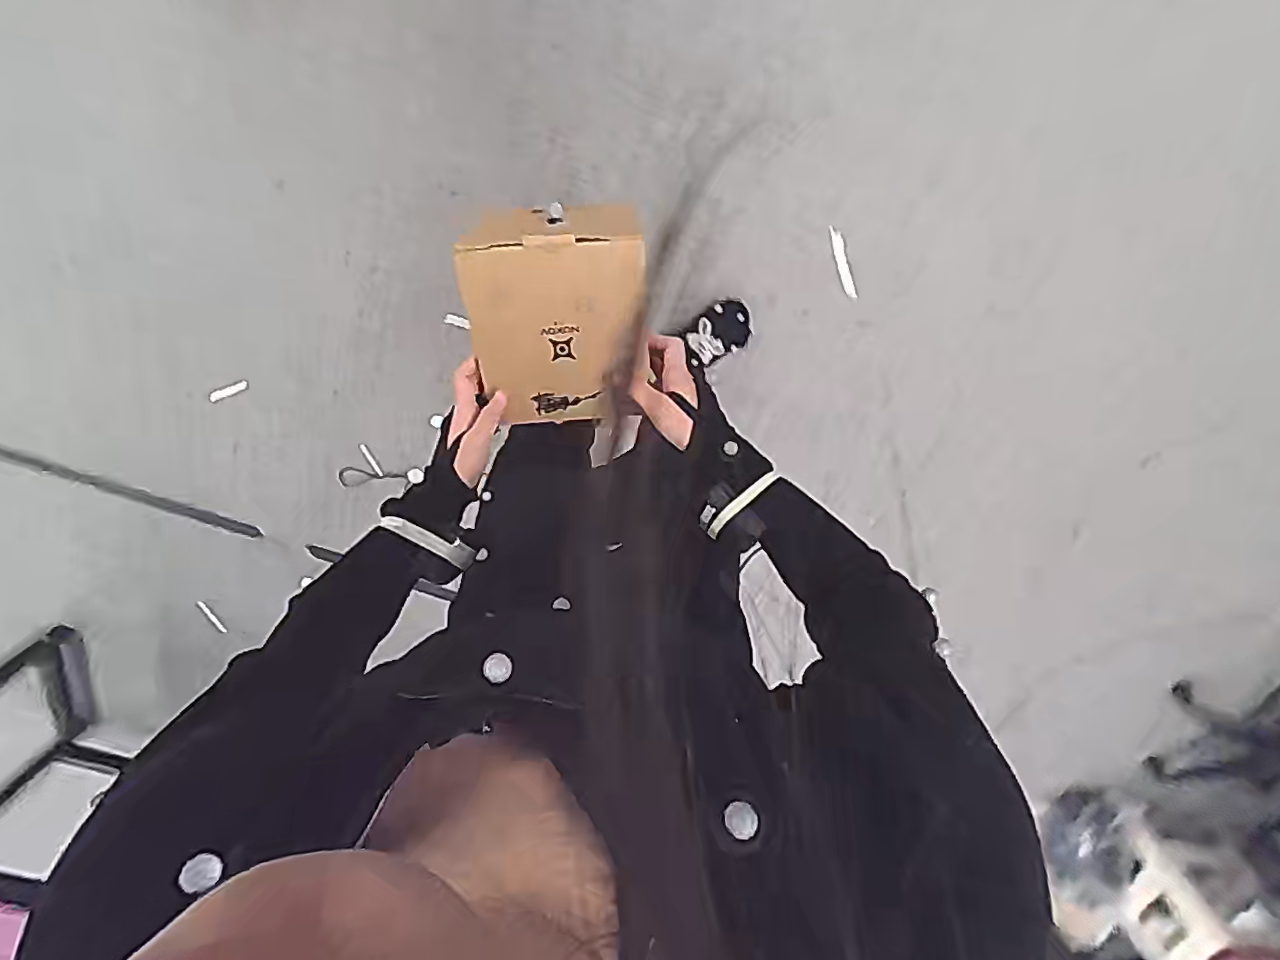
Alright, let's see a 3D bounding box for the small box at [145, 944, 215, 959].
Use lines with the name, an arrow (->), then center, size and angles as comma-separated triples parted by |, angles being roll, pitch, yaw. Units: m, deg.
small box -> -1.161, 1.280, 1.311 | 0.168, 0.176, 0.179 | 22, 116, -8
